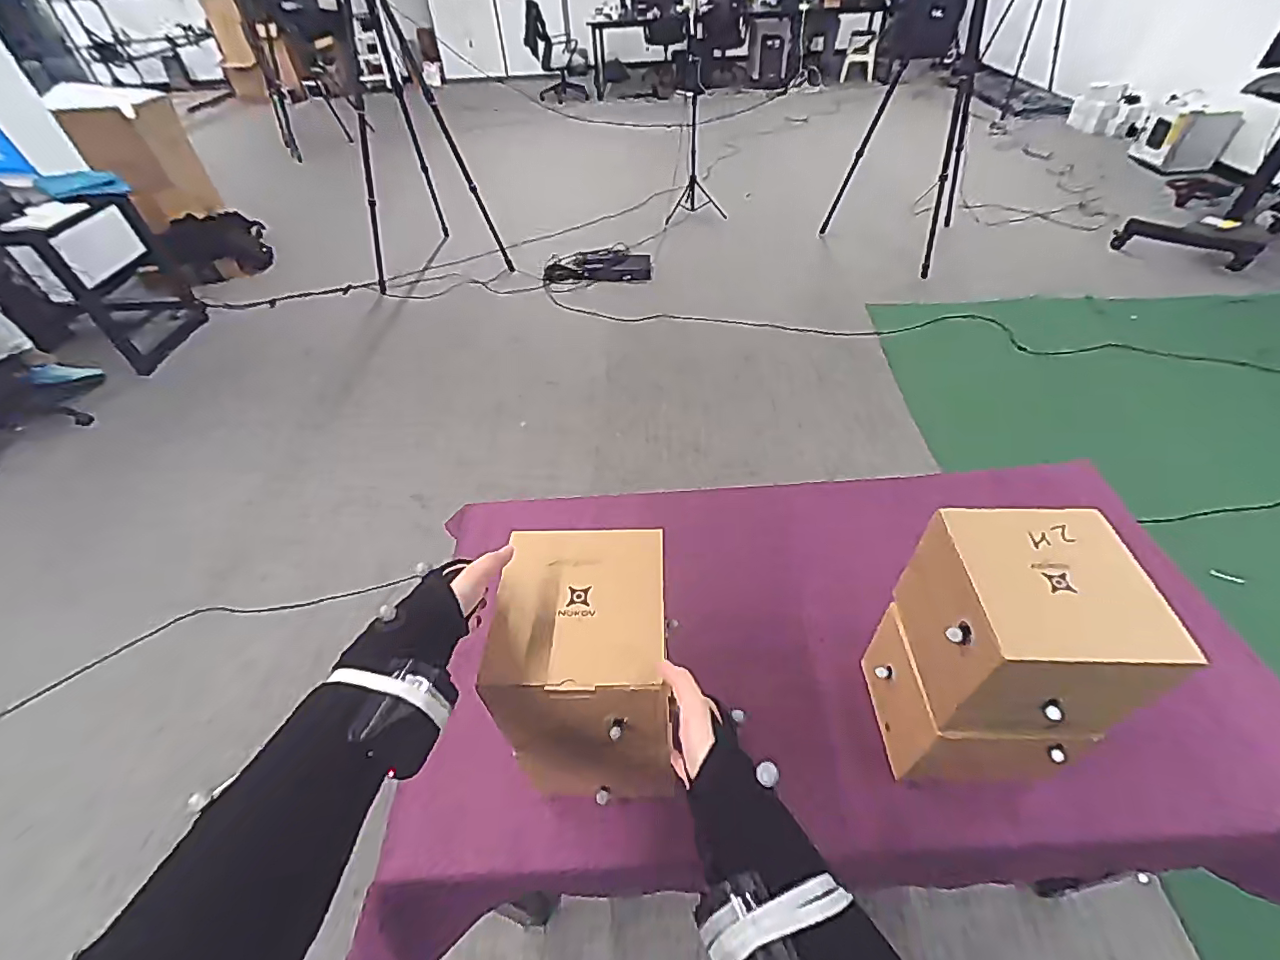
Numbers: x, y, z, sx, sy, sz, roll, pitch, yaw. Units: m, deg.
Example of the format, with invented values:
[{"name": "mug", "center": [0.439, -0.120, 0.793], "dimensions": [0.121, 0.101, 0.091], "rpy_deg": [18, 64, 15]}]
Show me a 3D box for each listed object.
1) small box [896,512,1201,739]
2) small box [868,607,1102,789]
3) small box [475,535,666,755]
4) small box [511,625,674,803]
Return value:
[{"name": "small box", "center": [0.394, 0.153, 0.566], "dimensions": [0.168, 0.176, 0.179], "rpy_deg": [1, 45, 4]}, {"name": "small box", "center": [0.403, 0.274, 0.678], "dimensions": [0.179, 0.176, 0.168], "rpy_deg": [-1, 45, 3]}, {"name": "small box", "center": [-0.056, 0.178, 0.578], "dimensions": [0.168, 0.176, 0.179], "rpy_deg": [-1, 45, 3]}, {"name": "small box", "center": [-0.049, 0.297, 0.690], "dimensions": [0.179, 0.176, 0.168], "rpy_deg": [-2, 45, 2]}]
